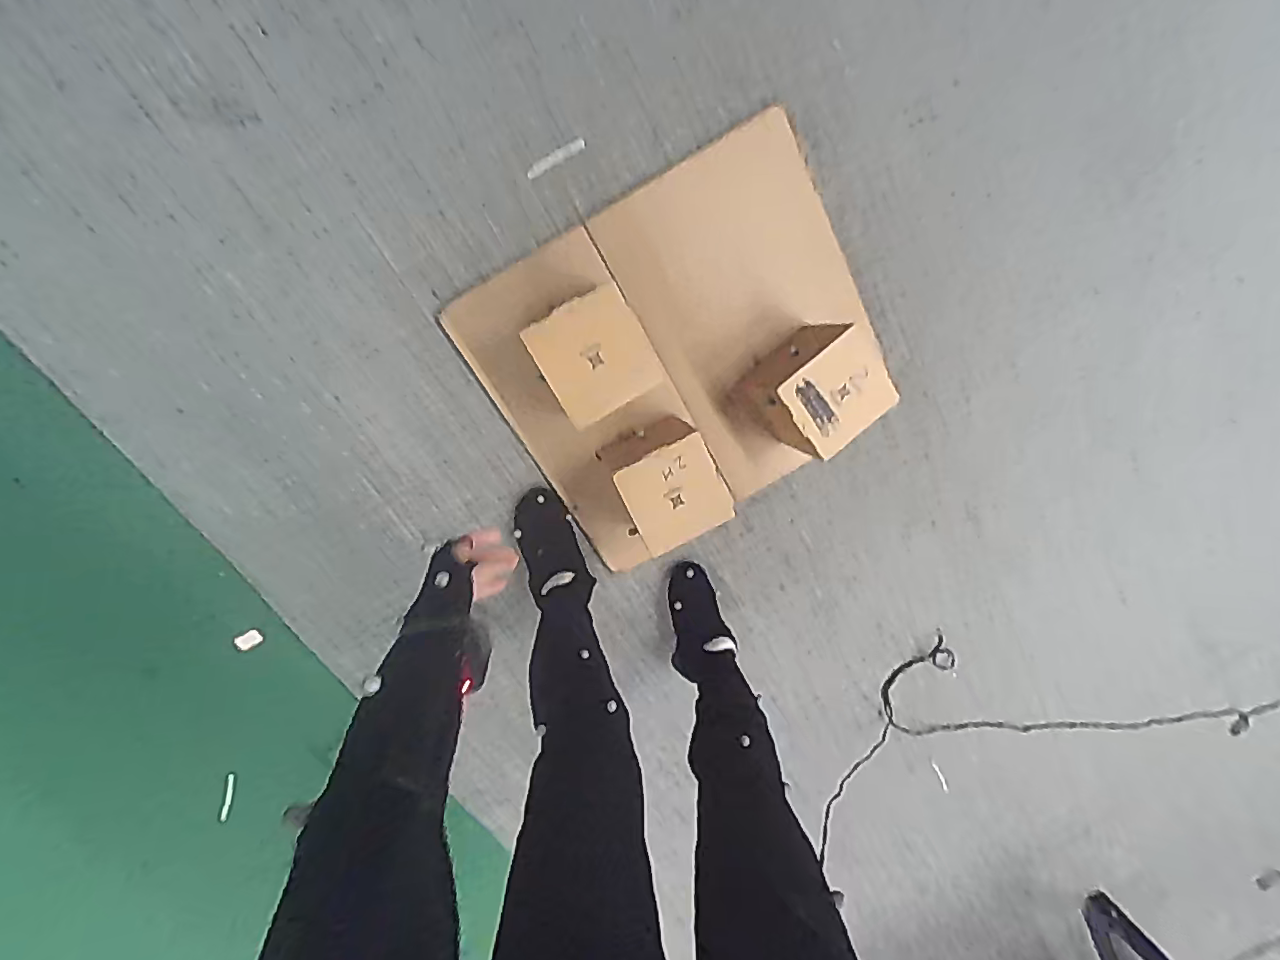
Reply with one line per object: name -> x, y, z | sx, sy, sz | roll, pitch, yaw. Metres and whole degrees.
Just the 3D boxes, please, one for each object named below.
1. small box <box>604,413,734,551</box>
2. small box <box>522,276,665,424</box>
small box -> 0.048, -0.004, 0.994 | 0.168, 0.176, 0.179 | -26, 109, -3
small box -> -0.081, -0.221, 0.910 | 0.168, 0.176, 0.179 | -30, 109, -1
